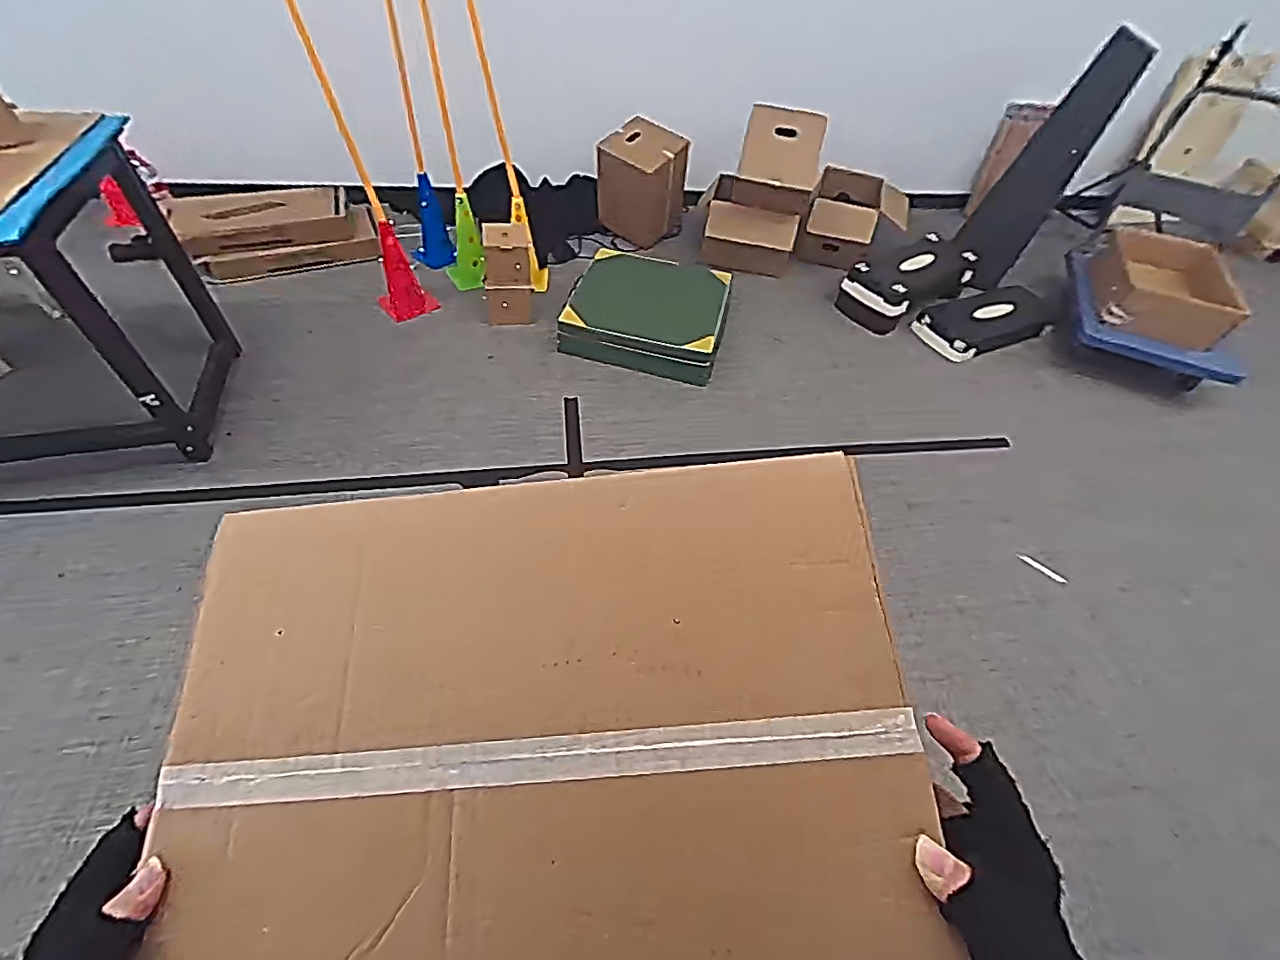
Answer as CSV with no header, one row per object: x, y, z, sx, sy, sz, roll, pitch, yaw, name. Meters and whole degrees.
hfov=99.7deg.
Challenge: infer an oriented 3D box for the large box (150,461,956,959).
-0.044,0.204,0.435,0.408,0.320,0.320,-6,67,4,large box
